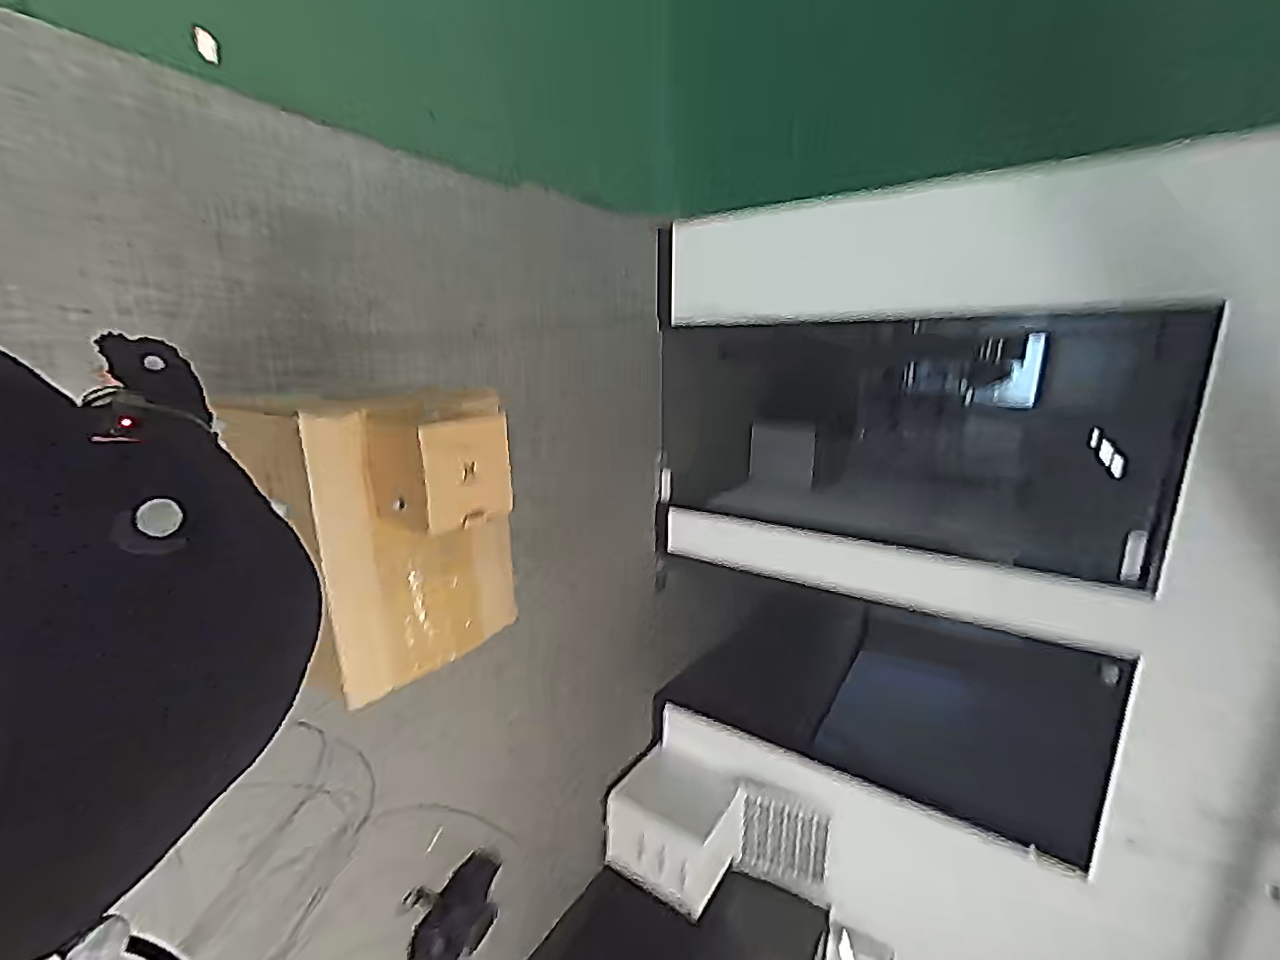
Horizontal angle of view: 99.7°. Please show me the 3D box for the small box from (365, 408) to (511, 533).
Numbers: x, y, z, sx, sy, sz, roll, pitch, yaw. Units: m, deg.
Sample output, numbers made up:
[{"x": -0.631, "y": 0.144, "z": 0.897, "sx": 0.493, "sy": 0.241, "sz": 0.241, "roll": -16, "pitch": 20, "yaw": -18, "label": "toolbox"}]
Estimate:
[{"x": -0.348, "y": -0.026, "z": 0.937, "sx": 0.168, "sy": 0.176, "sz": 0.179, "roll": -21, "pitch": 113, "yaw": -50, "label": "small box"}]
